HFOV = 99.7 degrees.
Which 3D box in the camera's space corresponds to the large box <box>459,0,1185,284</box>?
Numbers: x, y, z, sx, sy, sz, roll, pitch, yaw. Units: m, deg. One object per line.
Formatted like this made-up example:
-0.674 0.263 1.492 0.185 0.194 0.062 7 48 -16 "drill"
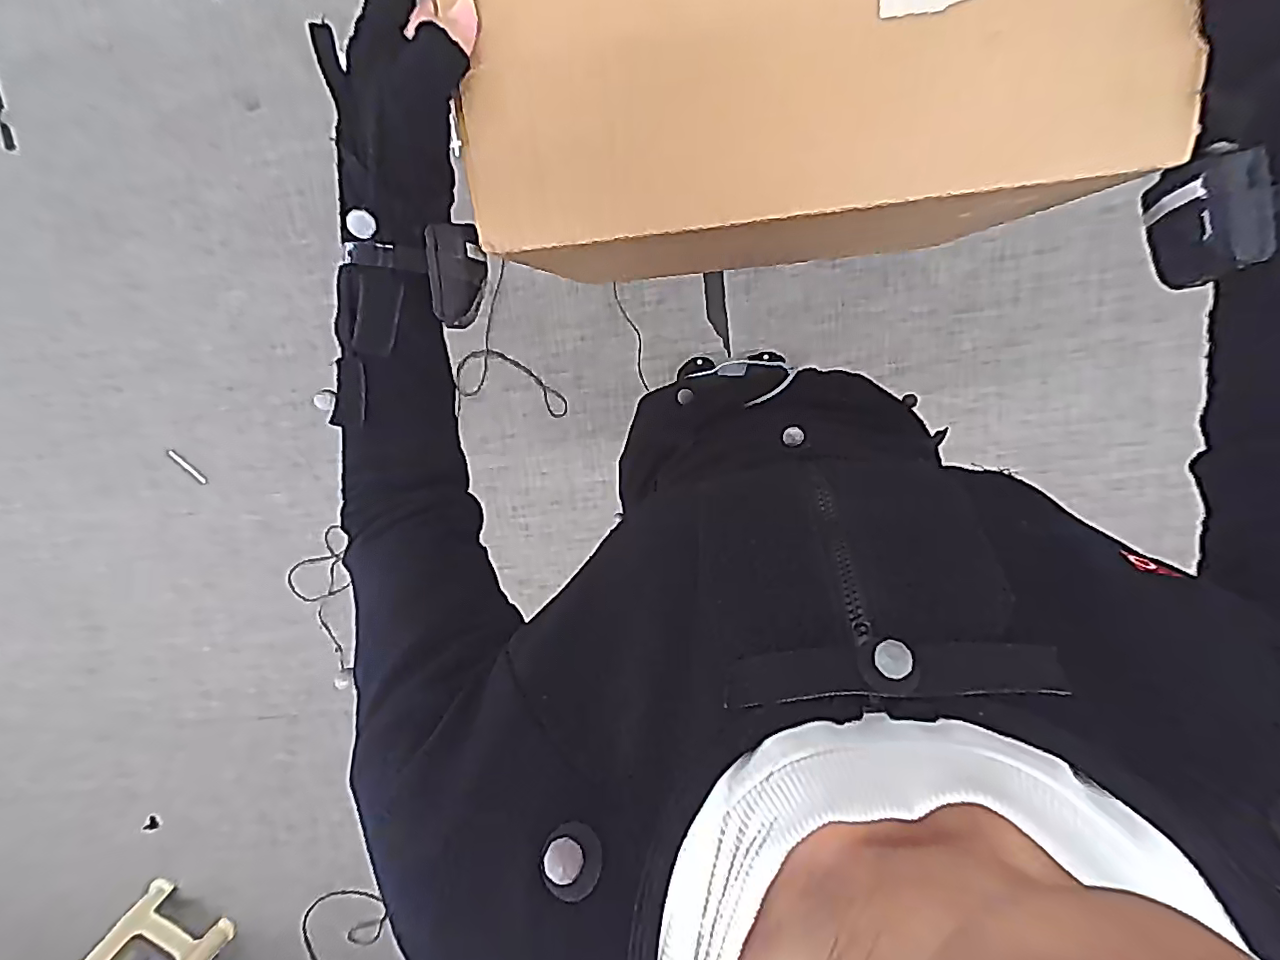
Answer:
0.098 -0.356 0.436 0.408 0.320 0.320 -5 106 7 "large box"
